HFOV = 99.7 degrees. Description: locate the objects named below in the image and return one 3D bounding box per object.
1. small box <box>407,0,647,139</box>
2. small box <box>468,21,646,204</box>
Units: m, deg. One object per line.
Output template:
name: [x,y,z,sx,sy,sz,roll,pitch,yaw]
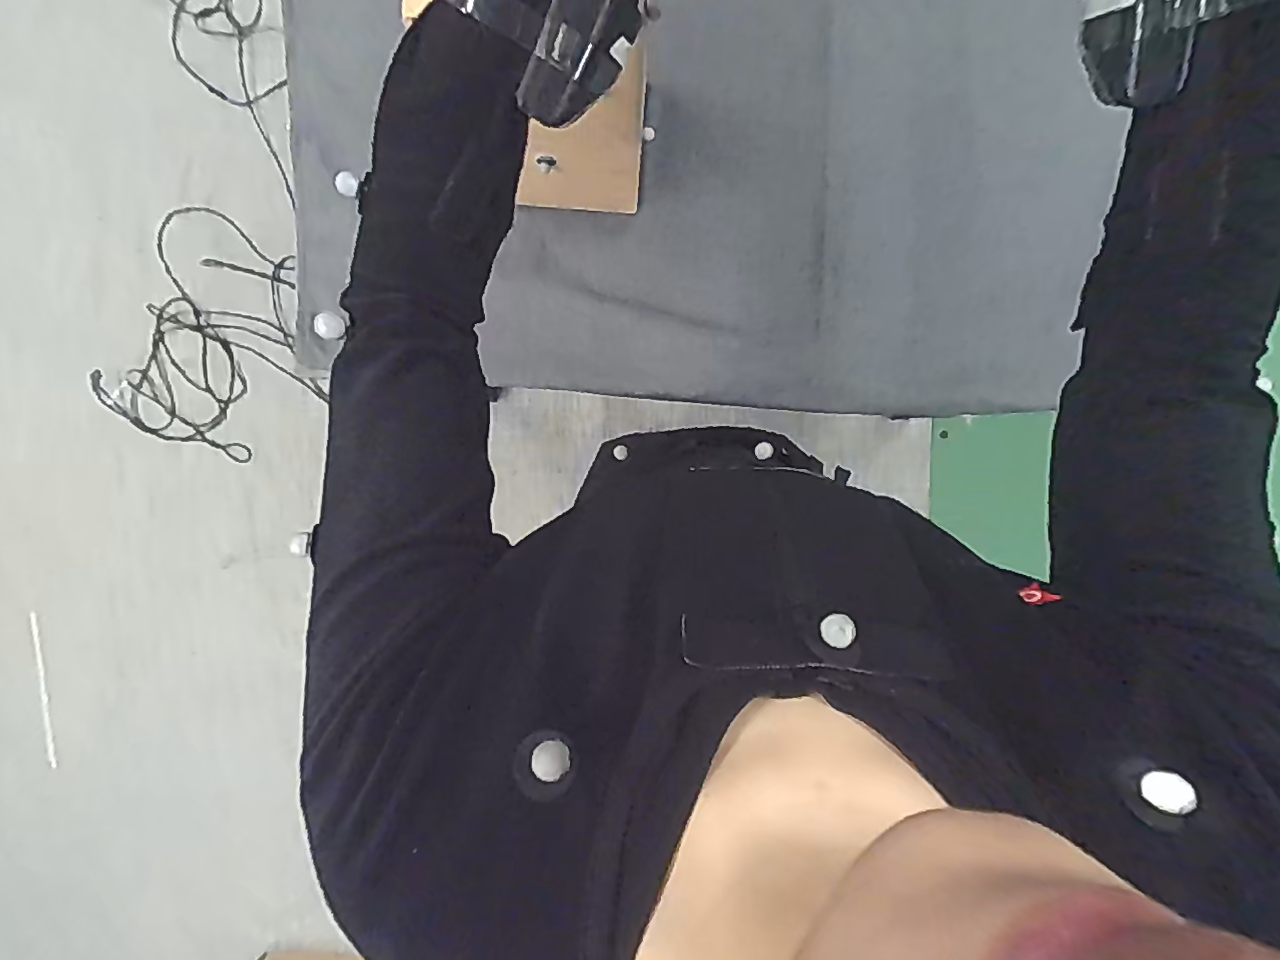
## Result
small box: [-0.081,-0.427,0.471,0.179,0.176,0.168,3,94,0]
small box: [-0.086,-0.446,0.635,0.179,0.176,0.168,4,94,-1]
